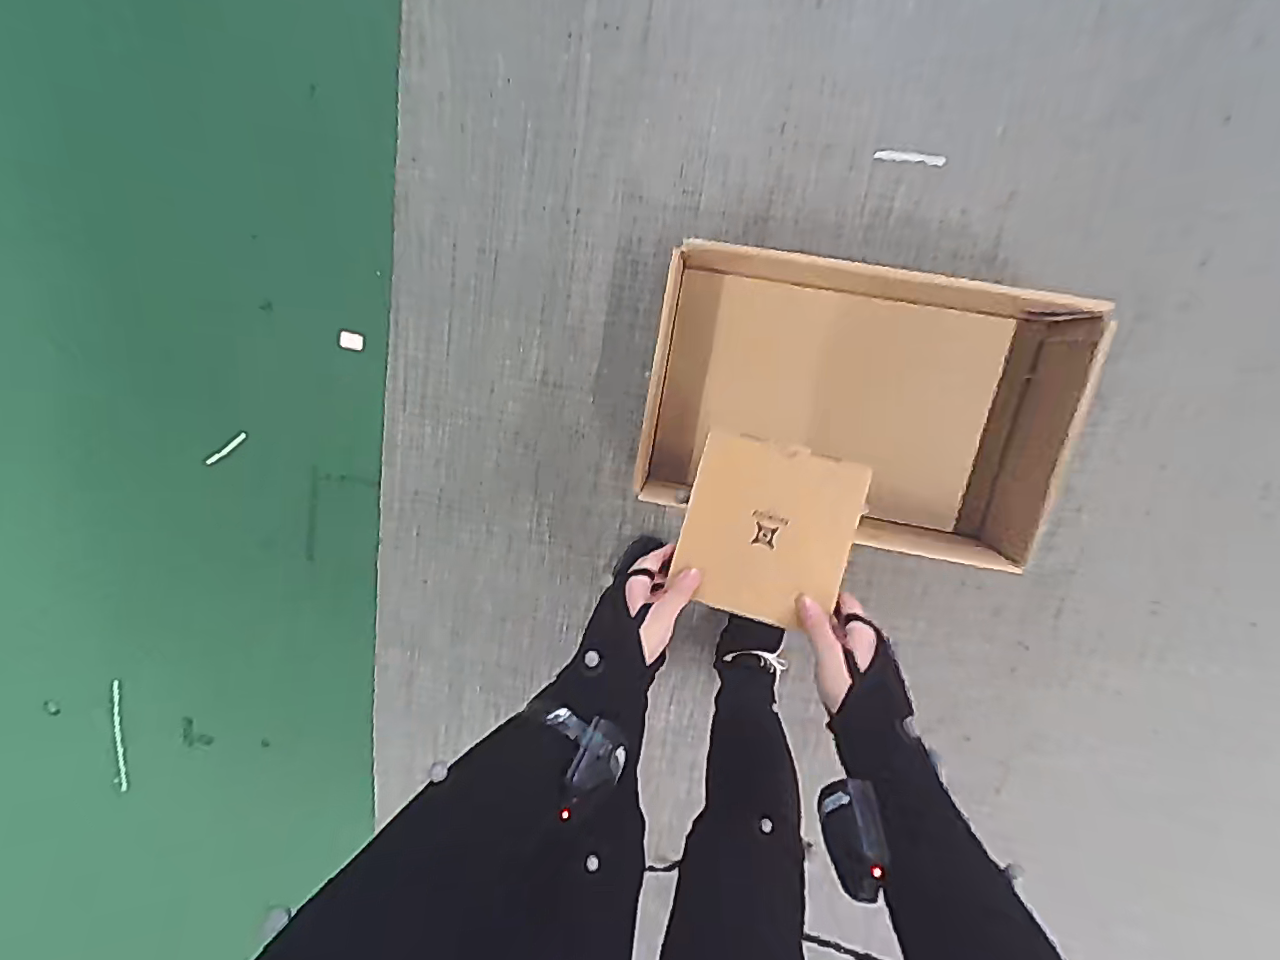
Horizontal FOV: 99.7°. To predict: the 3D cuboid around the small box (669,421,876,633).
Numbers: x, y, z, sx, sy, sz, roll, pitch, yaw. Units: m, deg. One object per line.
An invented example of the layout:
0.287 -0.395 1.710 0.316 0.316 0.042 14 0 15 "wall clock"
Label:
0.141 0.047 0.611 0.168 0.176 0.179 15 90 8 "small box"
